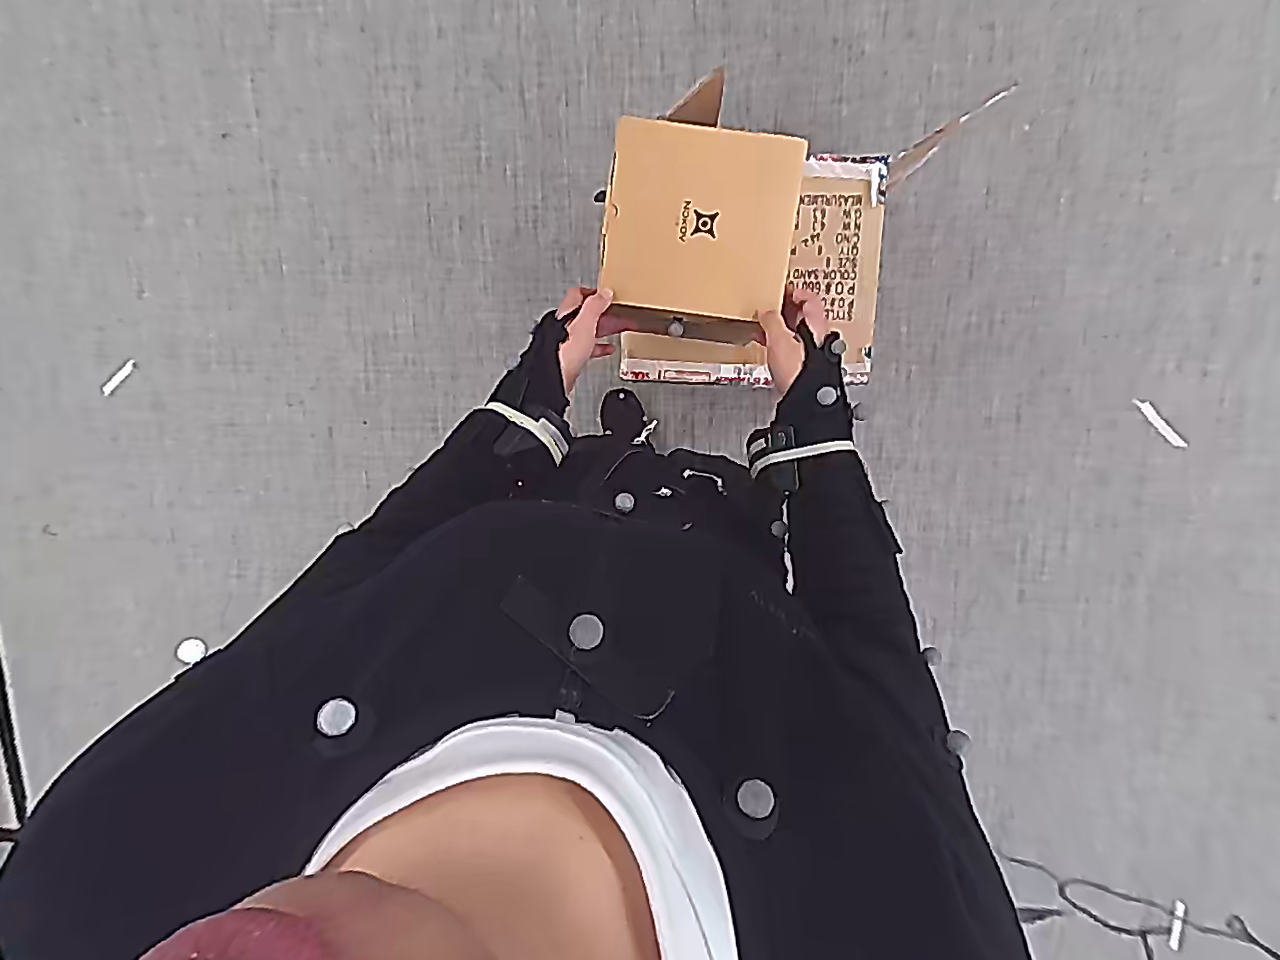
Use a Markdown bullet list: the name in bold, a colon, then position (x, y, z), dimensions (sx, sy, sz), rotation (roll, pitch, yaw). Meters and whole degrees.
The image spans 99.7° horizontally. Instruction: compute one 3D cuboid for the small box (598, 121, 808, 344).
- **small box**: position (0.059, -0.246, 0.581), dimensions (0.179, 0.176, 0.168), rotation (8, 97, 2)
